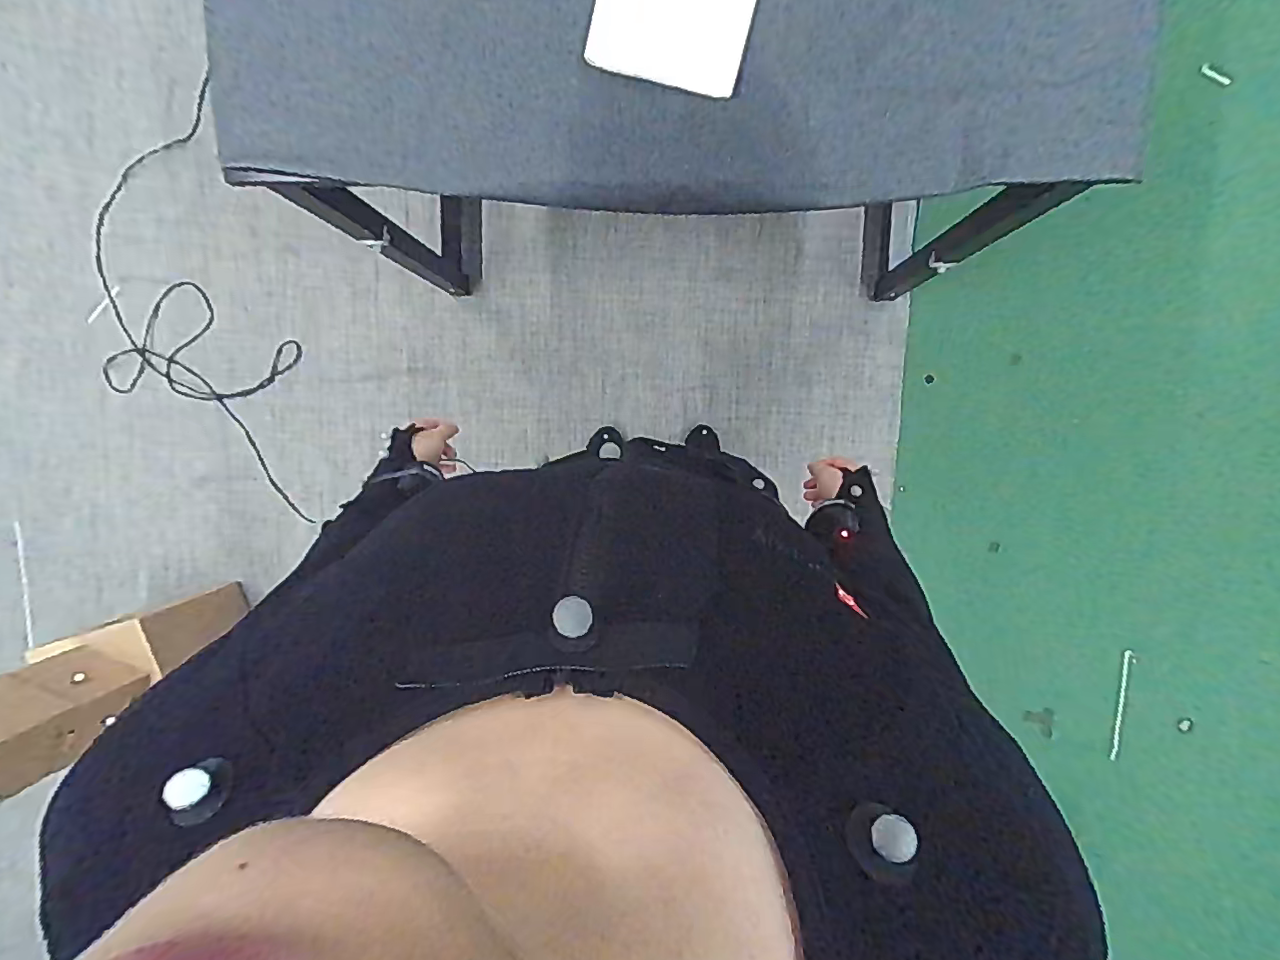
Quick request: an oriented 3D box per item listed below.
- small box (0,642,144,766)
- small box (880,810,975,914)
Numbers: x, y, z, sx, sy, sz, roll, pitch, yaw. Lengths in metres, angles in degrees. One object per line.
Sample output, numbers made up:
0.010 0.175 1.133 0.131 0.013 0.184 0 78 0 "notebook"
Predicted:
-1.282 0.491 1.213 0.179 0.176 0.168 23 96 -2 "small box"
0.766 1.032 1.438 0.168 0.176 0.179 18 98 1 "small box"
